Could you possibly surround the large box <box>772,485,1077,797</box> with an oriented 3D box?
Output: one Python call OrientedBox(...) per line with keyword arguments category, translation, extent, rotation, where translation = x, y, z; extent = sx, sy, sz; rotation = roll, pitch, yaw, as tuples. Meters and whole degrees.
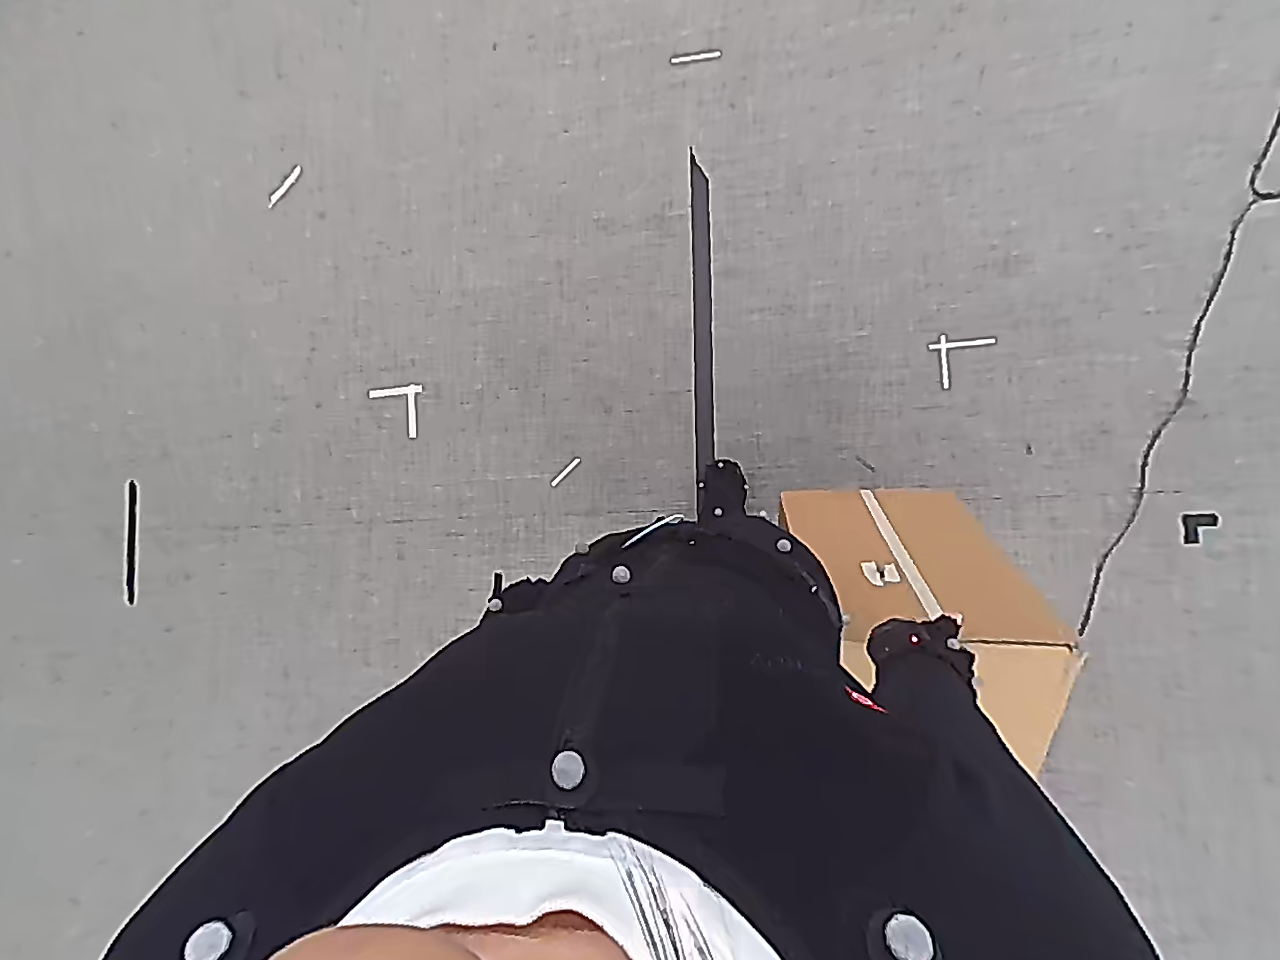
OrientedBox(category="large box", translation=(0.405, 0.239, 0.907), extent=(0.320, 0.408, 0.320), rotation=(-1, 118, 8))
